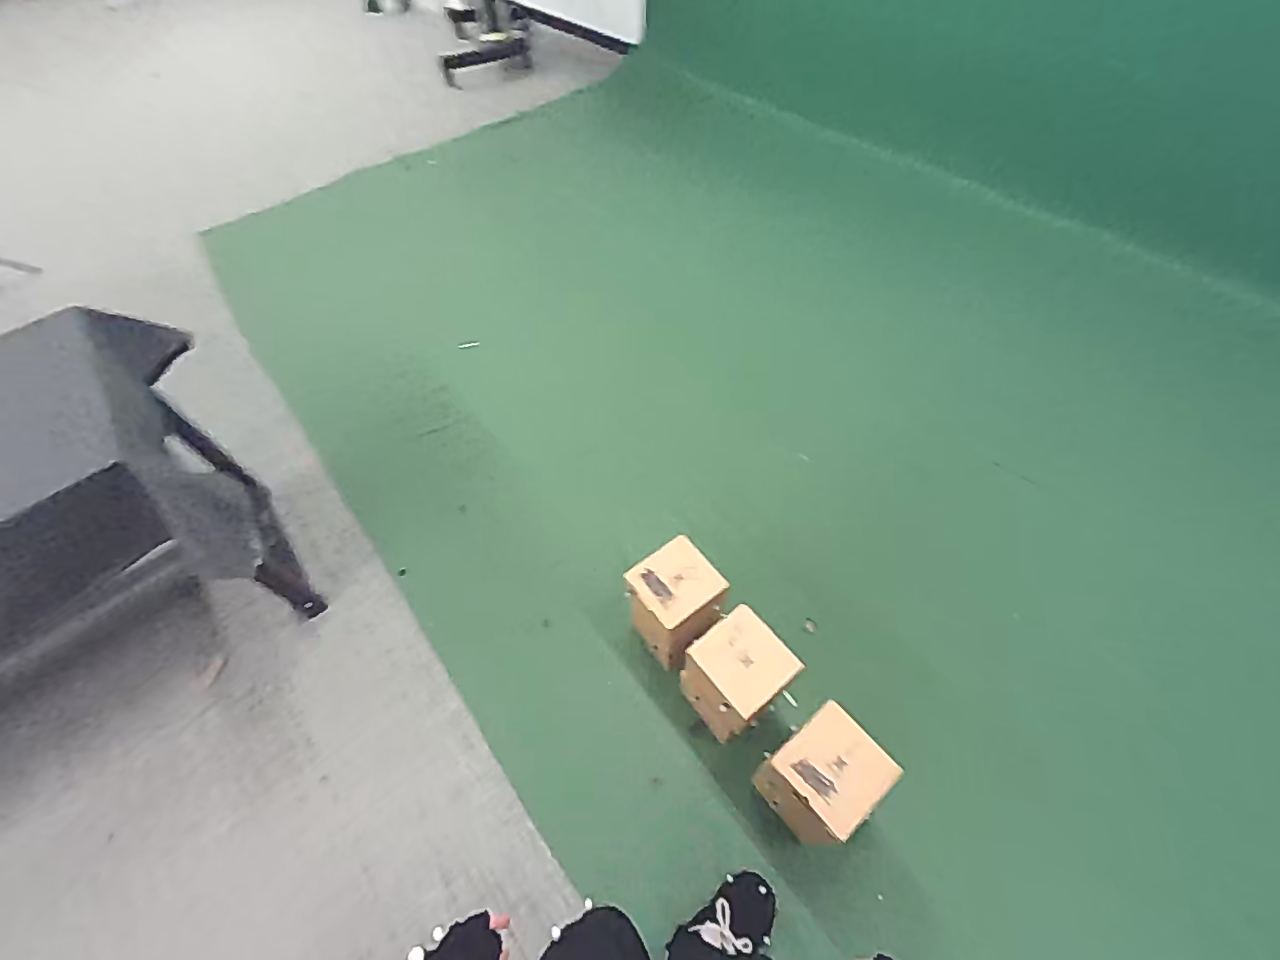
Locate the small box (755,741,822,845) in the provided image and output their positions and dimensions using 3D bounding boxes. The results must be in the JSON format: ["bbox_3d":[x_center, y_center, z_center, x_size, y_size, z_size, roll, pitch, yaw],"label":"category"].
[{"bbox_3d":[0.374,0.667,1.192,0.179,0.176,0.168,-35,60,-18],"label":"small box"}]

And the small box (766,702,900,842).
[{"bbox_3d":[0.363,0.574,1.056,0.179,0.176,0.168,-35,60,-19],"label":"small box"}]

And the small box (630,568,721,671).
[{"bbox_3d":[0.094,0.371,1.419,0.179,0.176,0.168,-31,59,-16],"label":"small box"}]
